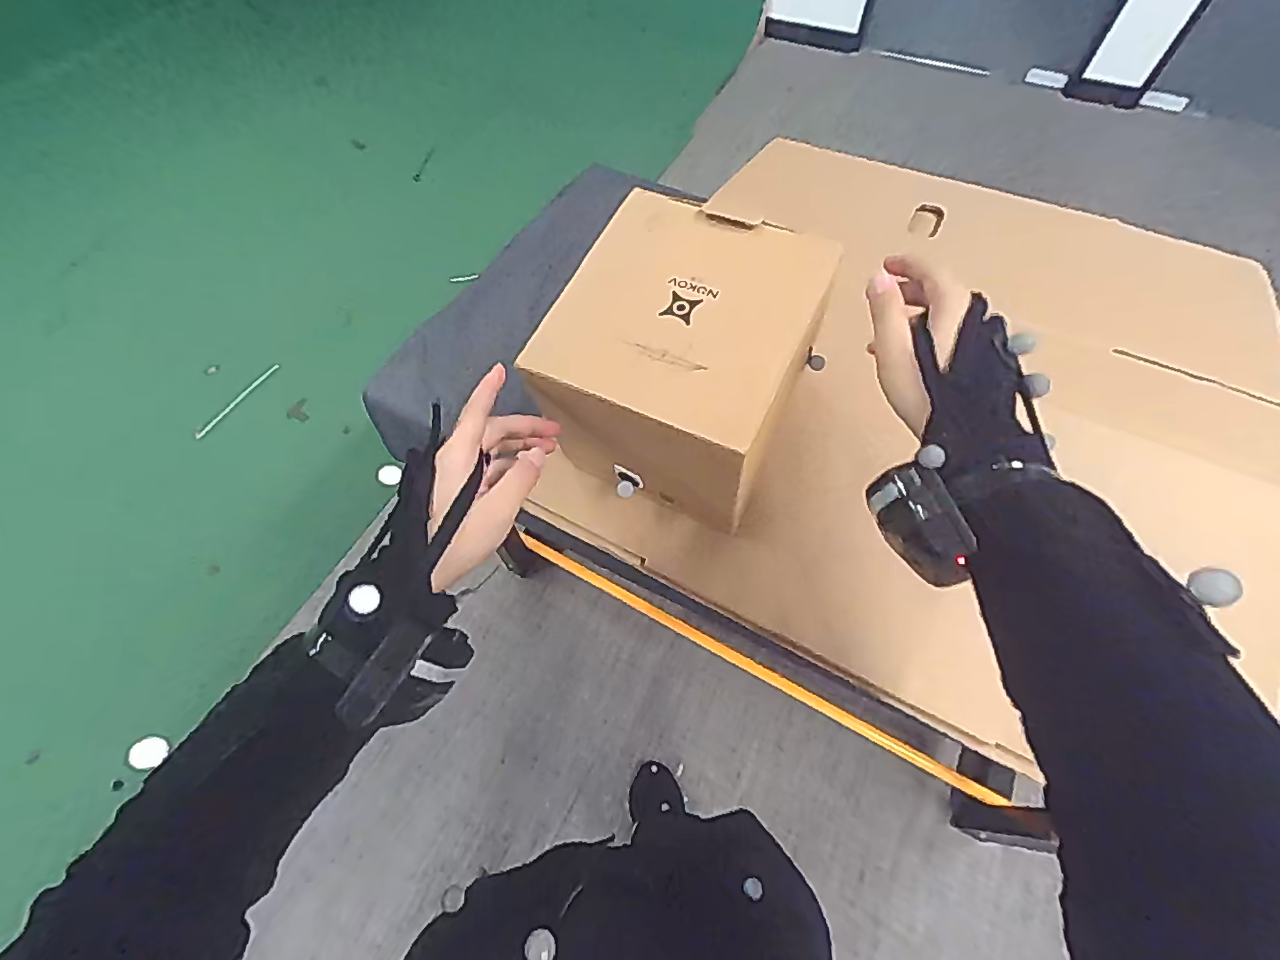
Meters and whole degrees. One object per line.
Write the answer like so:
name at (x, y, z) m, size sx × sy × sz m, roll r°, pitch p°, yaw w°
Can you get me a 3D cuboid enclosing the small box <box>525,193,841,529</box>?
small box at (0.038, -0.087, 0.441) m, size 0.168 × 0.176 × 0.179 m, roll 23°, pitch 72°, yaw 15°
